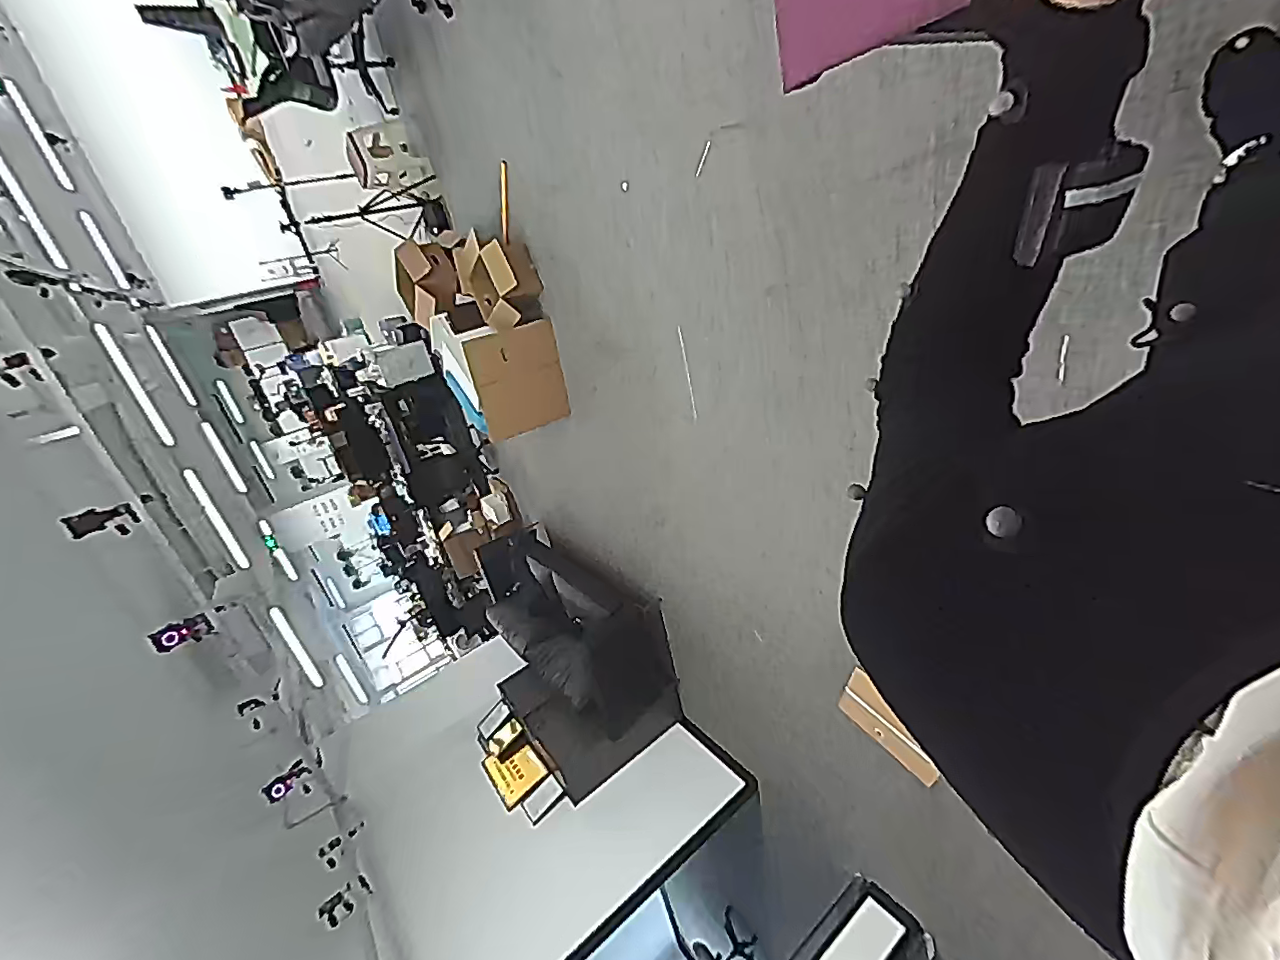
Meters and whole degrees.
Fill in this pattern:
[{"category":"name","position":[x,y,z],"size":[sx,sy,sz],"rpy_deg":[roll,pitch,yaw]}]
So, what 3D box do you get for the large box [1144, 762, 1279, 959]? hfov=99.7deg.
[{"category":"large box","position":[1.571,0.928,1.293],"size":[0.320,0.320,0.408],"rpy_deg":[60,150,4]}]
